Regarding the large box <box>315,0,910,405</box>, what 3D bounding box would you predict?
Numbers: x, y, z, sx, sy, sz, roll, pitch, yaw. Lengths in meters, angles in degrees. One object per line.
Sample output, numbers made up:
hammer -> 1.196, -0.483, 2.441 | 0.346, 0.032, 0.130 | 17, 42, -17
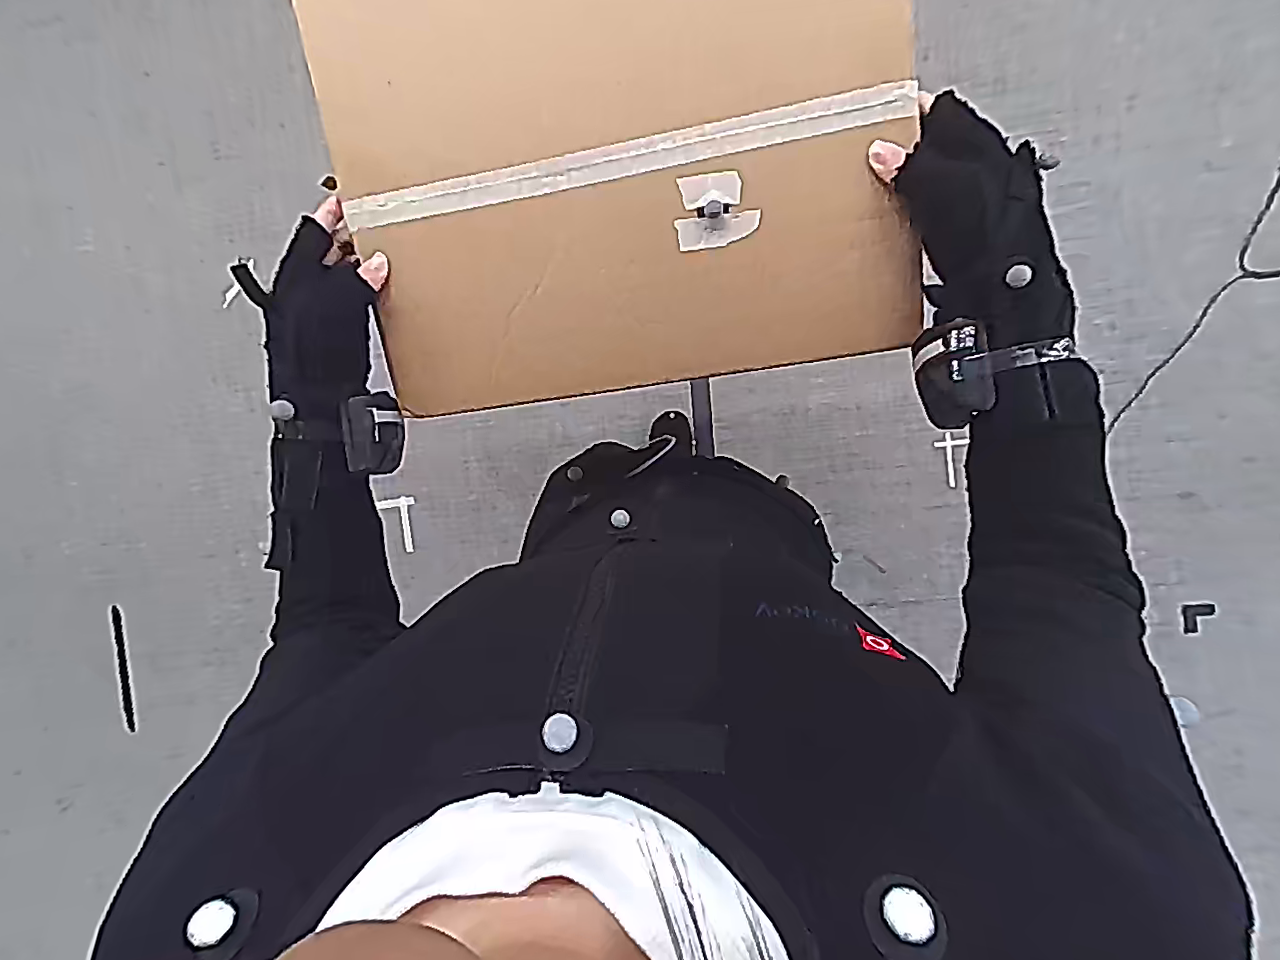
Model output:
large box -> -0.004, -0.272, 0.537 | 0.408, 0.320, 0.320 | -7, 105, 8
